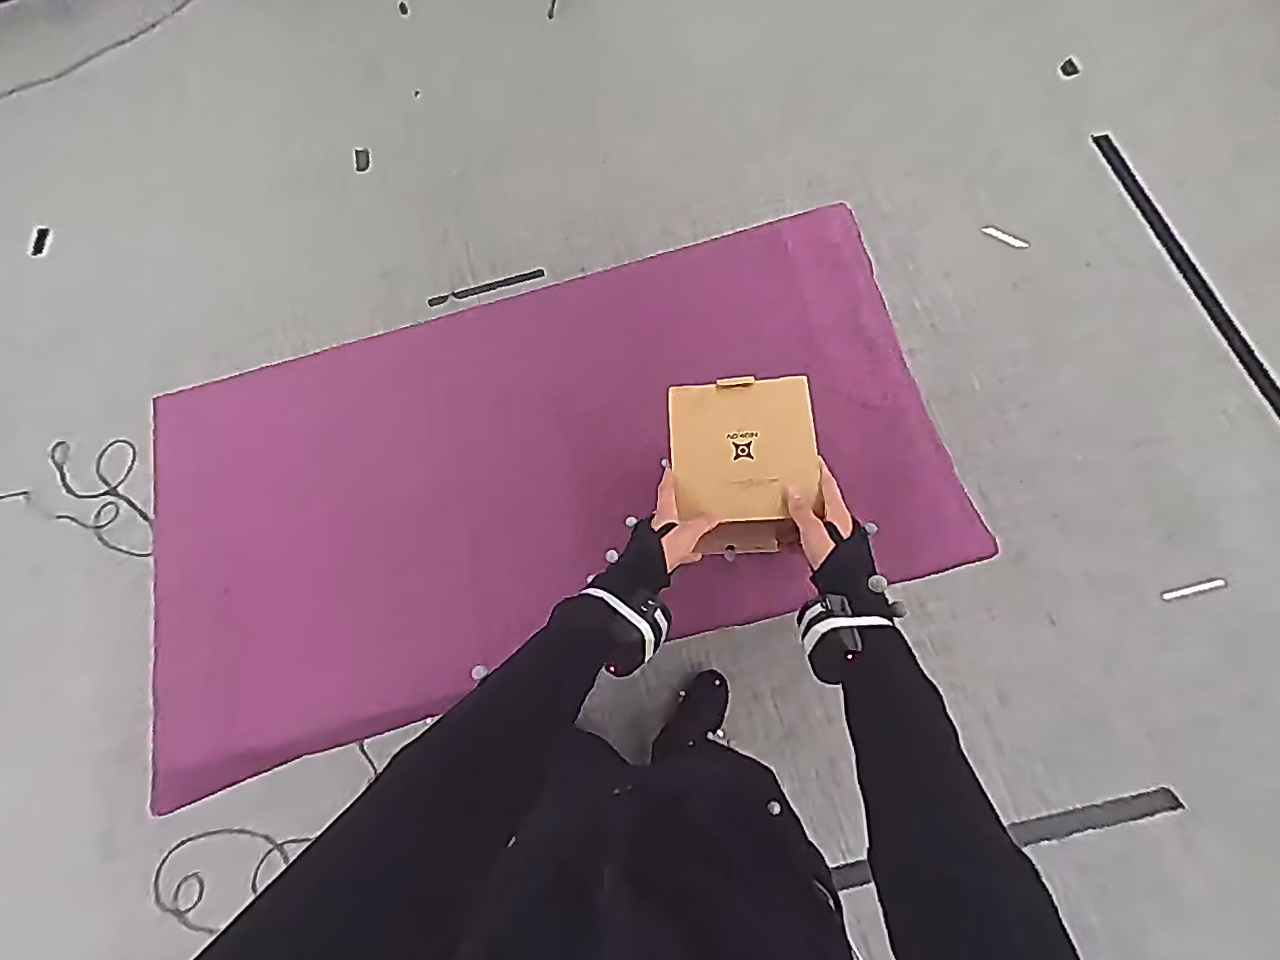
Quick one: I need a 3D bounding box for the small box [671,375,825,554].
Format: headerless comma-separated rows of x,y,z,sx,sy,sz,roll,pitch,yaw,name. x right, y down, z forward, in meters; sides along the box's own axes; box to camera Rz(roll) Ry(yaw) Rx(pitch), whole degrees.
0.125,-0.011,0.682,0.168,0.176,0.179,-3,70,7,small box
